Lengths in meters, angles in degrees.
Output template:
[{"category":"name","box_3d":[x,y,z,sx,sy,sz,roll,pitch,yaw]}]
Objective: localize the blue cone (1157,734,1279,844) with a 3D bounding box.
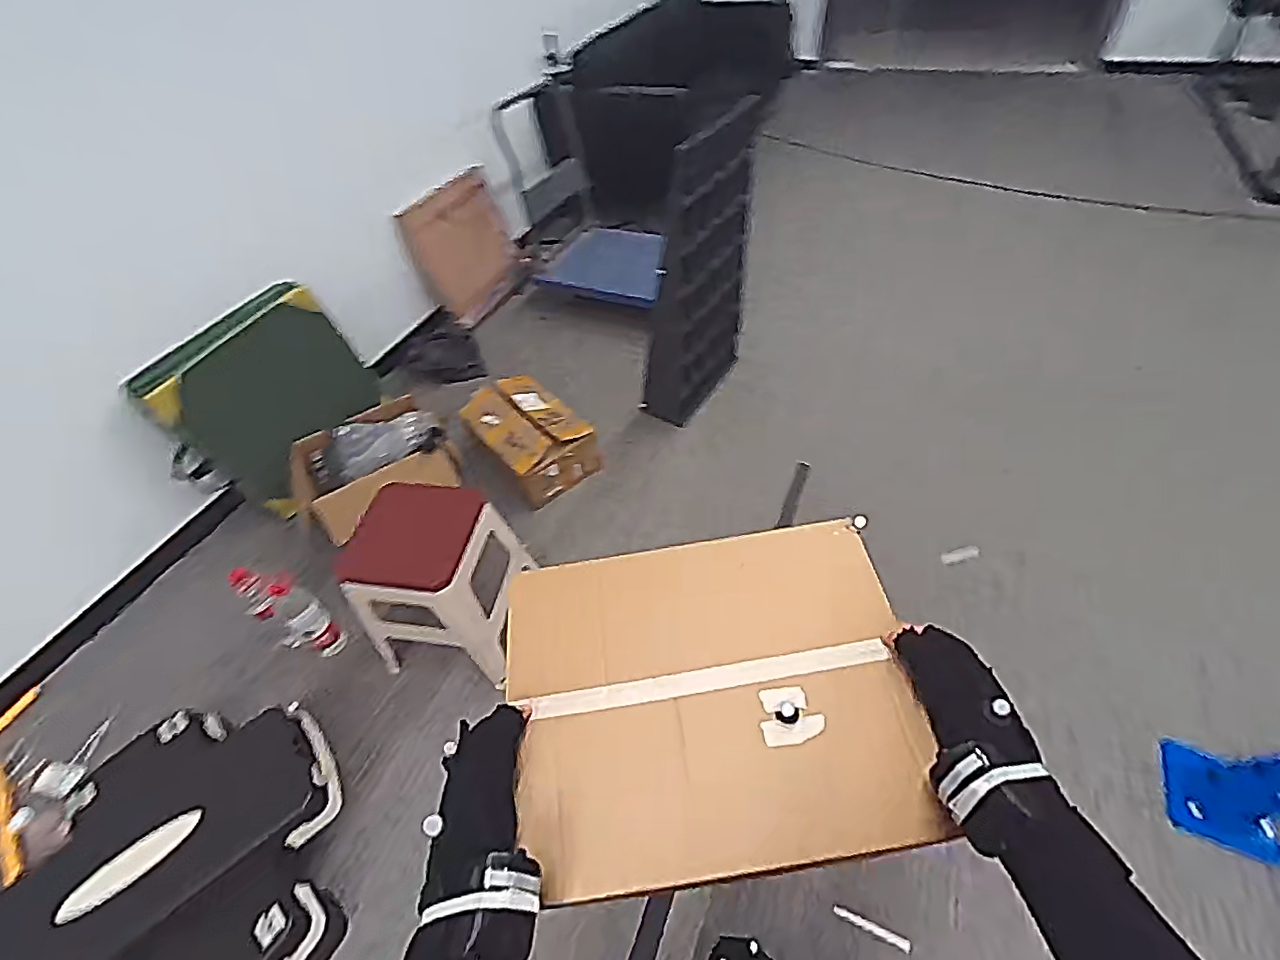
[{"category":"blue cone","box_3d":[1.272,0.580,1.092,0.193,0.380,0.192,19,53,21]}]

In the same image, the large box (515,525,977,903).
[{"category":"large box","box_3d":[0.084,0.293,0.659,0.408,0.320,0.320,-8,52,0]}]
